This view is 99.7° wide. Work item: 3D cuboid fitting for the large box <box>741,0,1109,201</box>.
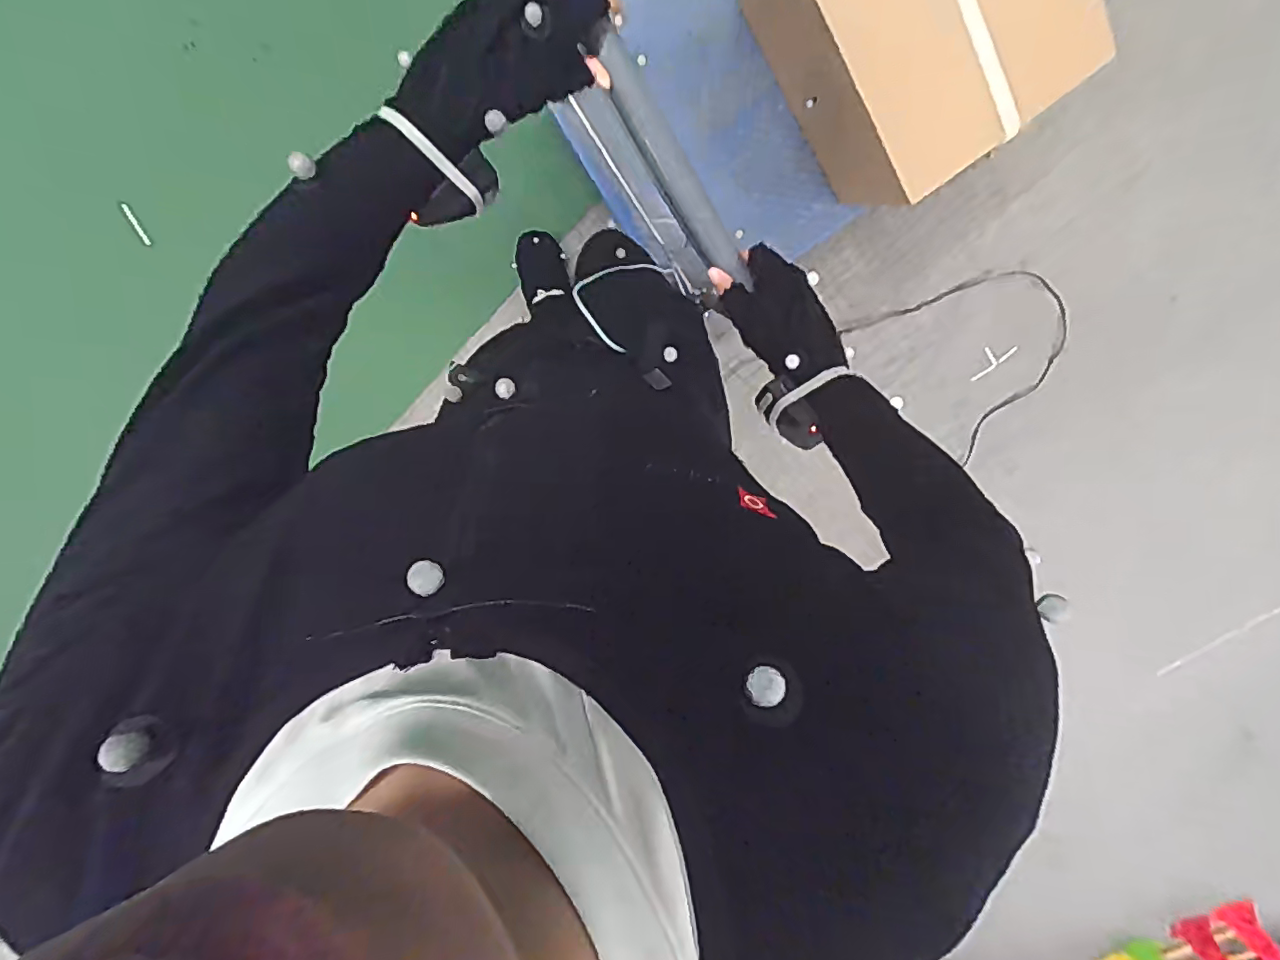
[{"bbox_3d":[0.410,-0.715,0.847,0.320,0.320,0.408,-34,112,15],"label":"large box"}]
